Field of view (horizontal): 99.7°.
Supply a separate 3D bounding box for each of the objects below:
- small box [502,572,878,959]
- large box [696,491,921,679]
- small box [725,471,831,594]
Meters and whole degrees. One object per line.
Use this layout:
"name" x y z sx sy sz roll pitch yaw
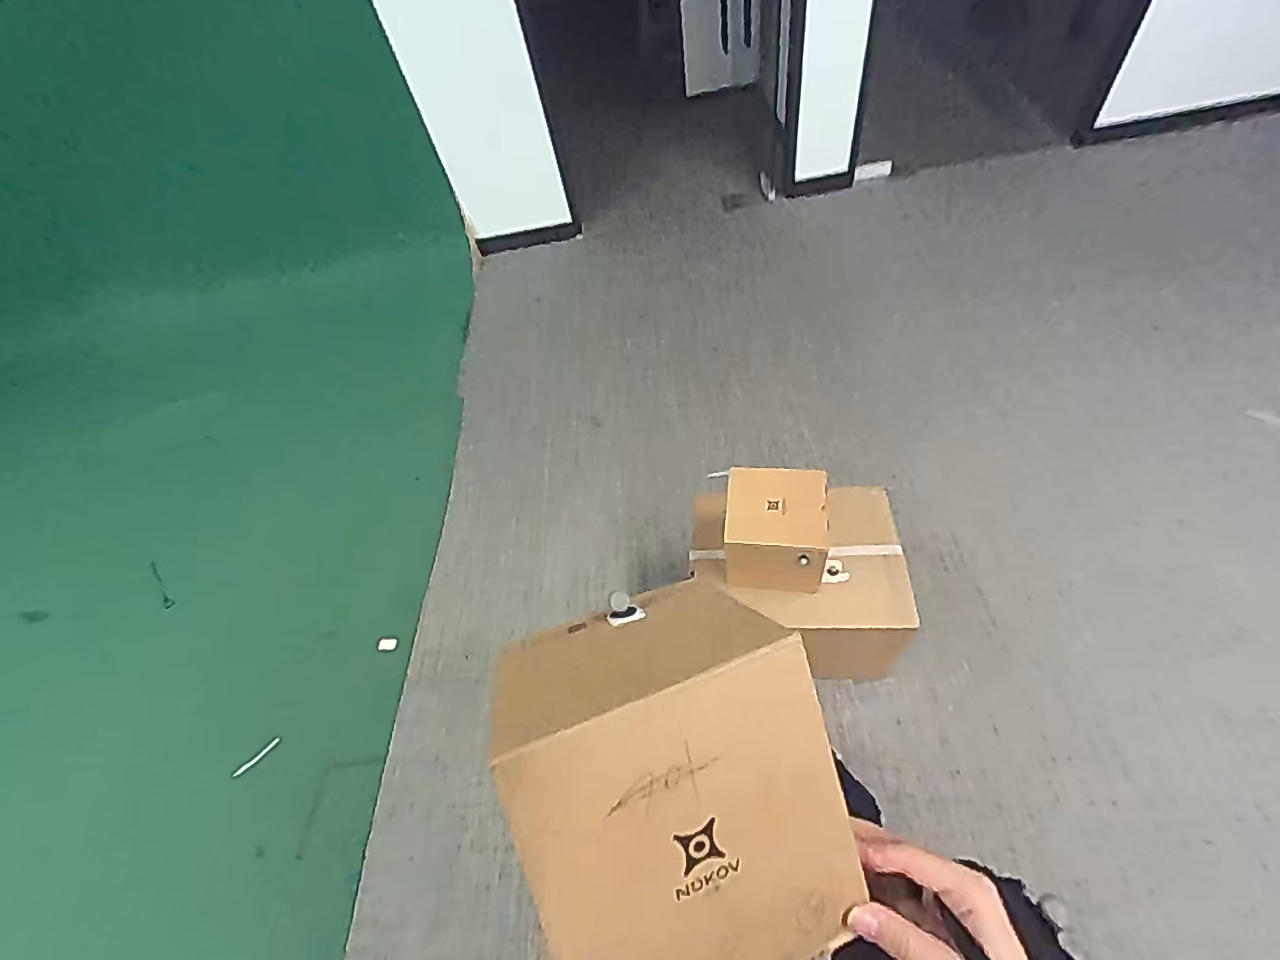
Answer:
"small box" 0.016 0.178 0.354 0.168 0.176 0.179 -17 94 -13
"large box" 0.333 0.243 1.196 0.408 0.320 0.320 -2 55 8
"small box" 0.254 0.100 1.010 0.179 0.176 0.168 3 54 12
